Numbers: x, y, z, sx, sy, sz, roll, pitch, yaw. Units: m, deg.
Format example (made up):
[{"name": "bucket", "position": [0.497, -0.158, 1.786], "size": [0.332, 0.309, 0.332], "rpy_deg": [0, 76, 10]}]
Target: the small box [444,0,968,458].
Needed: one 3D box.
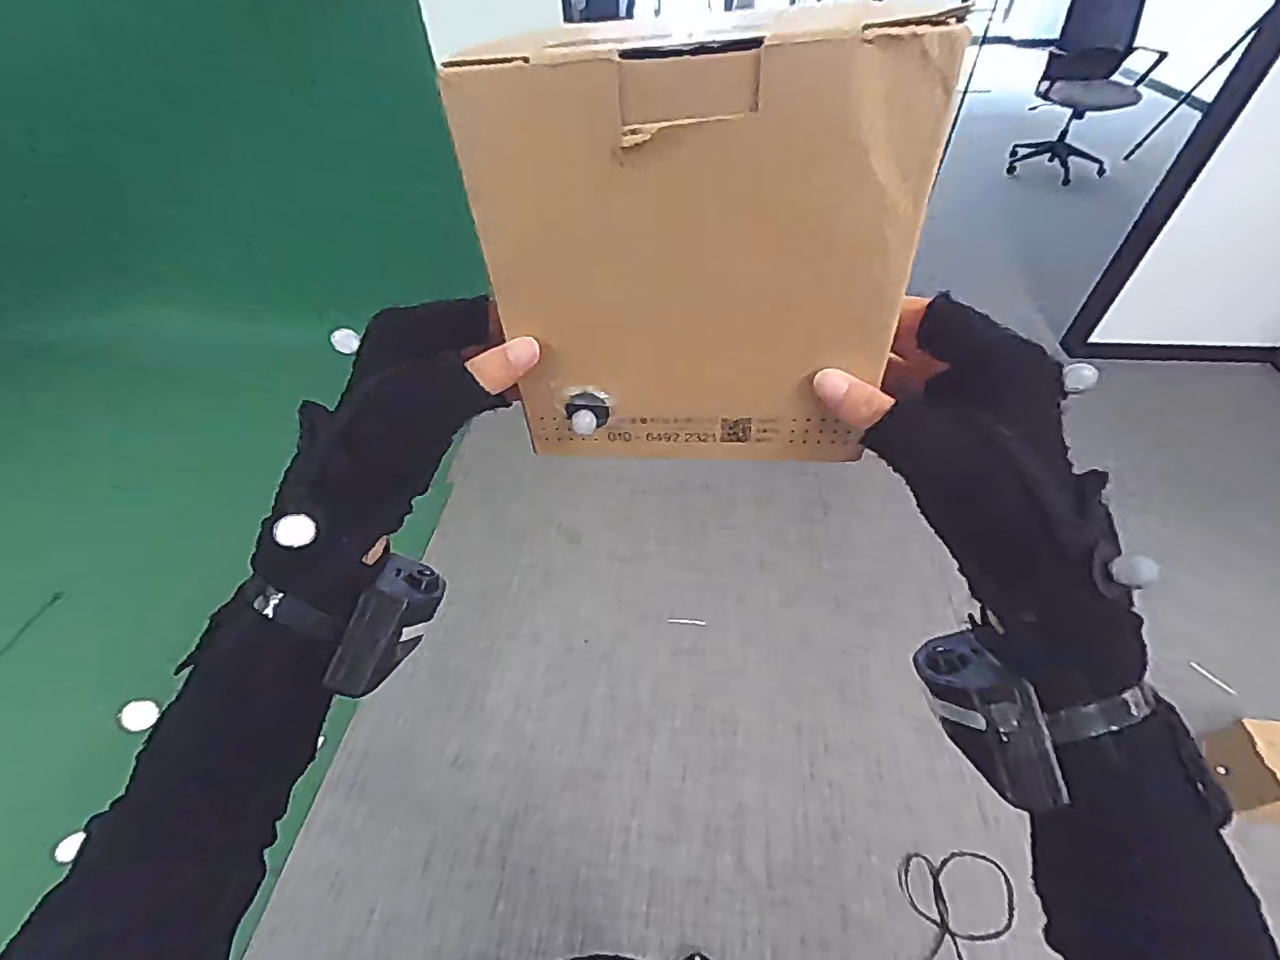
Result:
[{"name": "small box", "position": [0.031, -0.125, 0.279], "size": [0.168, 0.176, 0.179], "rpy_deg": [1, 42, 7]}]

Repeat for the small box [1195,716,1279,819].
[{"name": "small box", "position": [1.447, 0.655, 1.224], "size": [0.179, 0.176, 0.168], "rpy_deg": [3, 47, 6]}]
